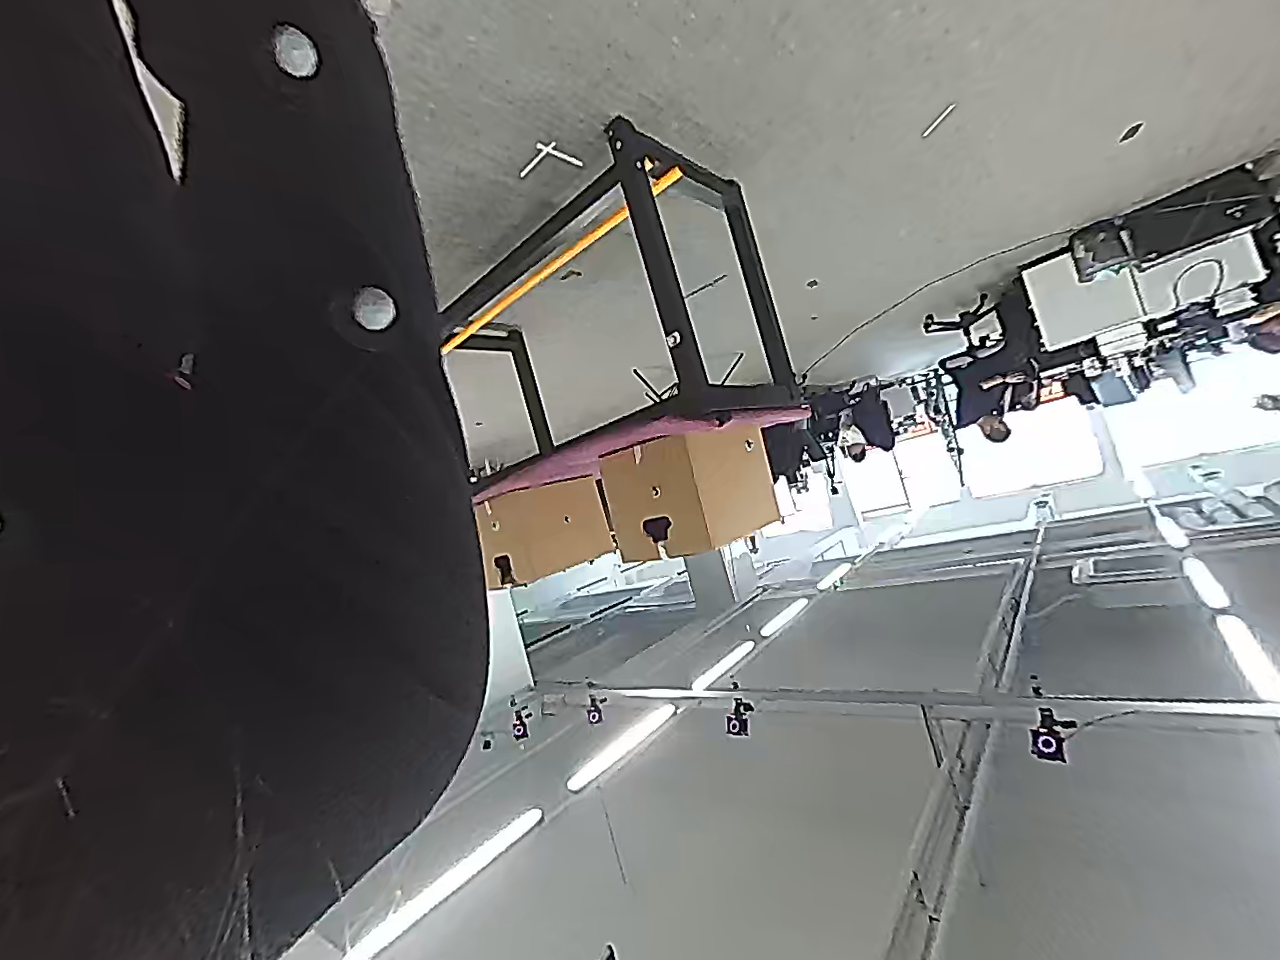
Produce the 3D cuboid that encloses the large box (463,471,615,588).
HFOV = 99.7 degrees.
[{"bbox_3d":[-0.370,0.175,1.995,0.320,0.320,0.408,-17,179,39],"label":"large box"}]
